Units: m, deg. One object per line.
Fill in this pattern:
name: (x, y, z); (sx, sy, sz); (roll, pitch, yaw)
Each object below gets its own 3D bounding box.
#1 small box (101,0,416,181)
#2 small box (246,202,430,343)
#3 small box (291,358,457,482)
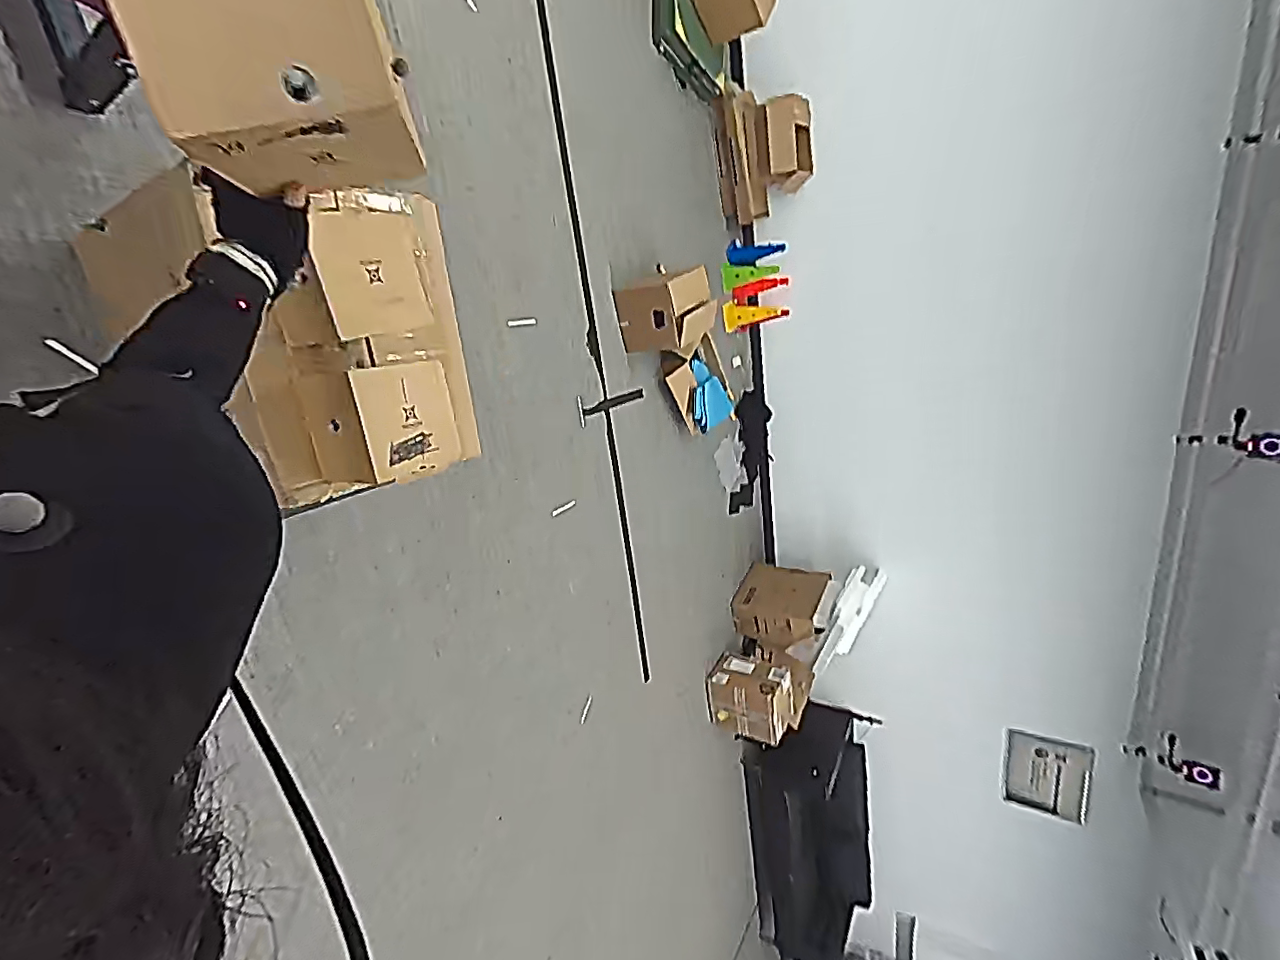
small box: (-0.306, -0.374, 0.447); (0.168, 0.179, 0.176); (-17, 108, -9)
small box: (-0.467, -0.318, 0.842); (0.168, 0.176, 0.179); (-34, 122, -50)
small box: (-0.441, -0.104, 0.902); (0.168, 0.176, 0.179); (-28, 114, -53)
